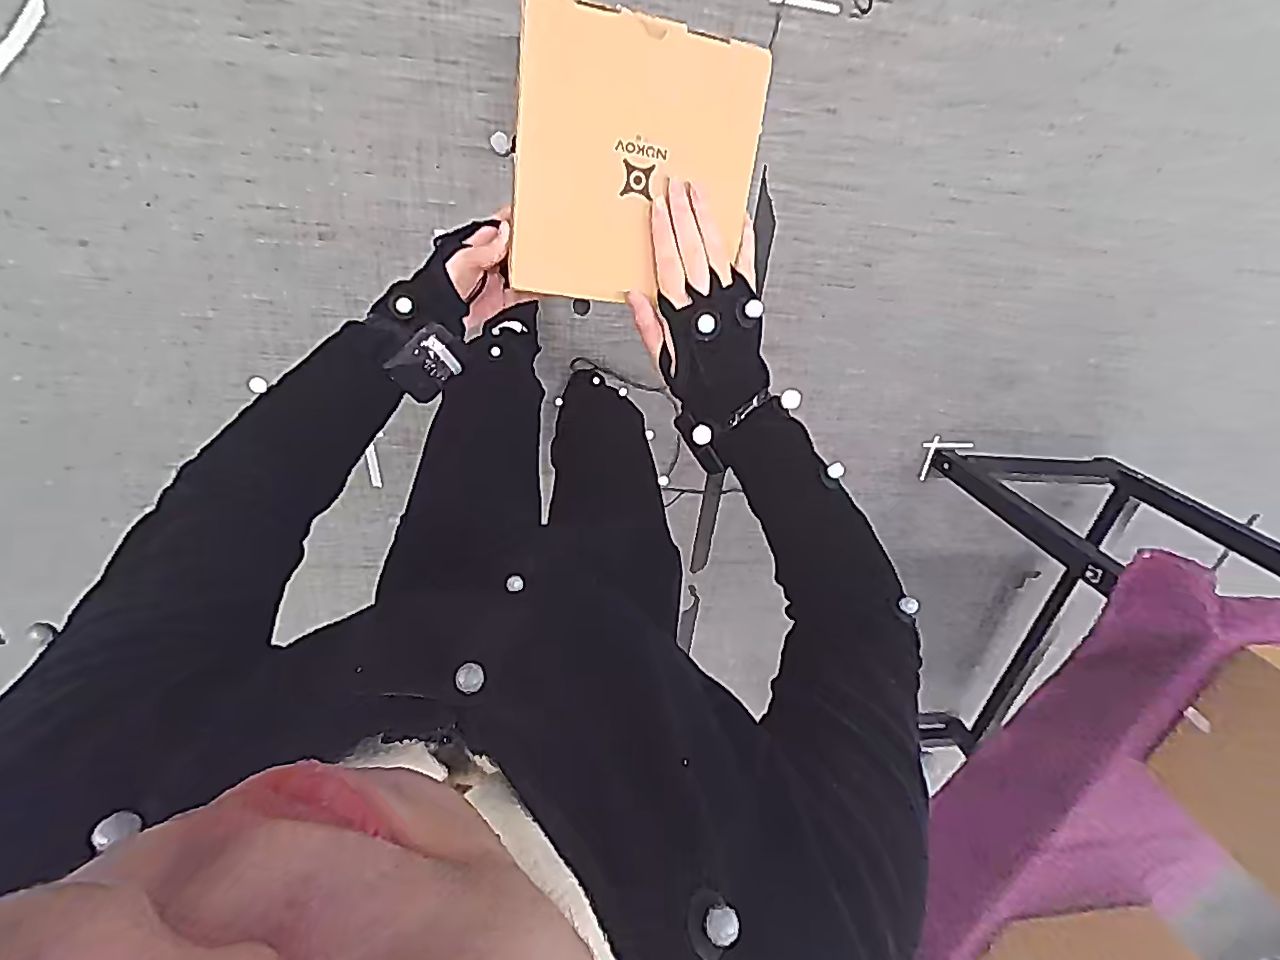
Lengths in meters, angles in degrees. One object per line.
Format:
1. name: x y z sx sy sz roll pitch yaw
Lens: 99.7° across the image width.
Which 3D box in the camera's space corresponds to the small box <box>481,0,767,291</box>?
1. small box: -0.003 -0.249 0.405 0.179 0.176 0.168 3 92 4
